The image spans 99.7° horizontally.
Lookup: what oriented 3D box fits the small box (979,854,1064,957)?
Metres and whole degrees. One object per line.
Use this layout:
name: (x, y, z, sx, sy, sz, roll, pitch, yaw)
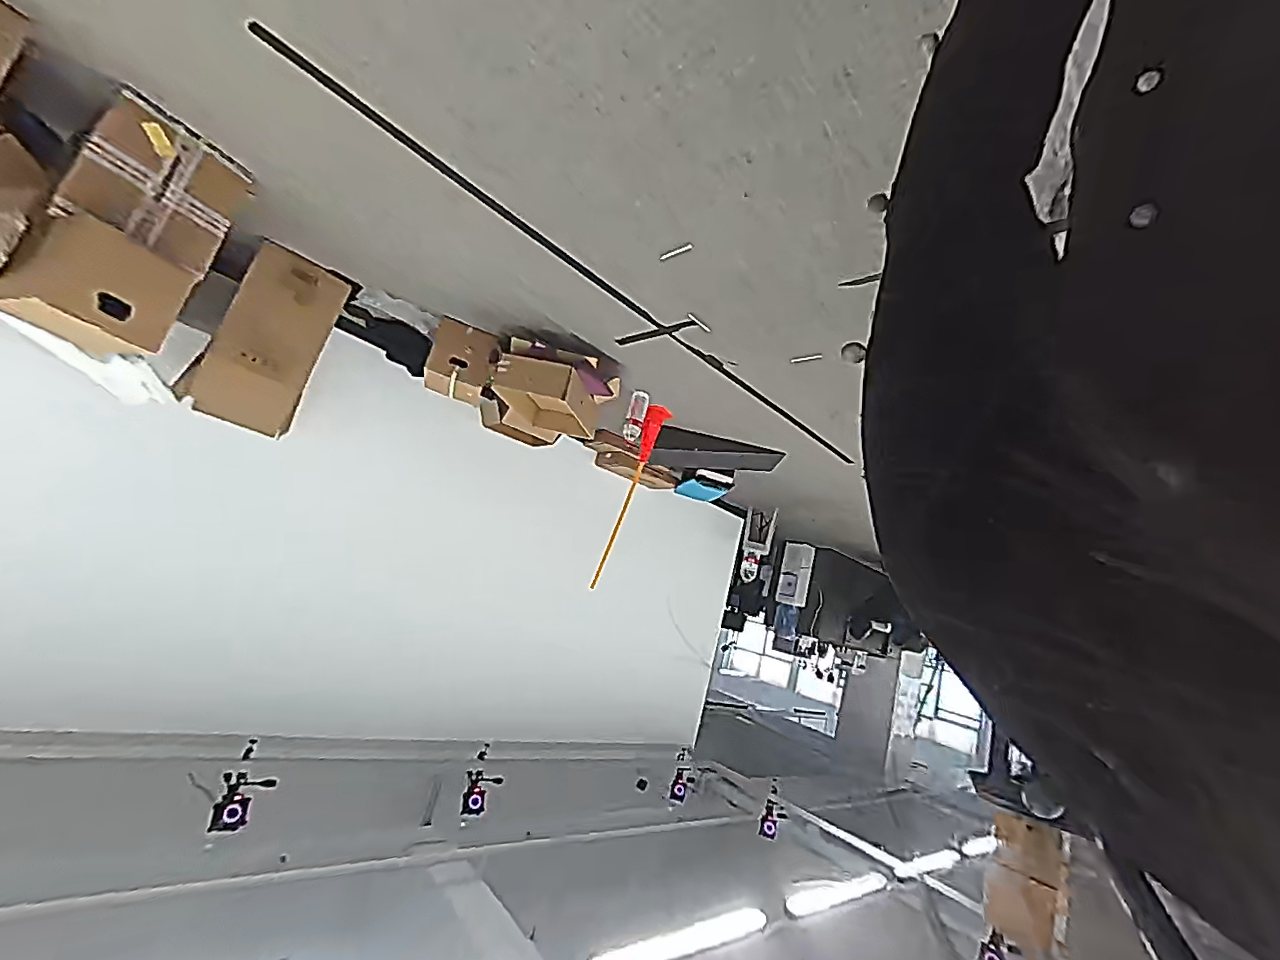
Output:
small box: (1.112, 1.220, 1.570, 0.179, 0.176, 0.168, 25, 164, -39)
